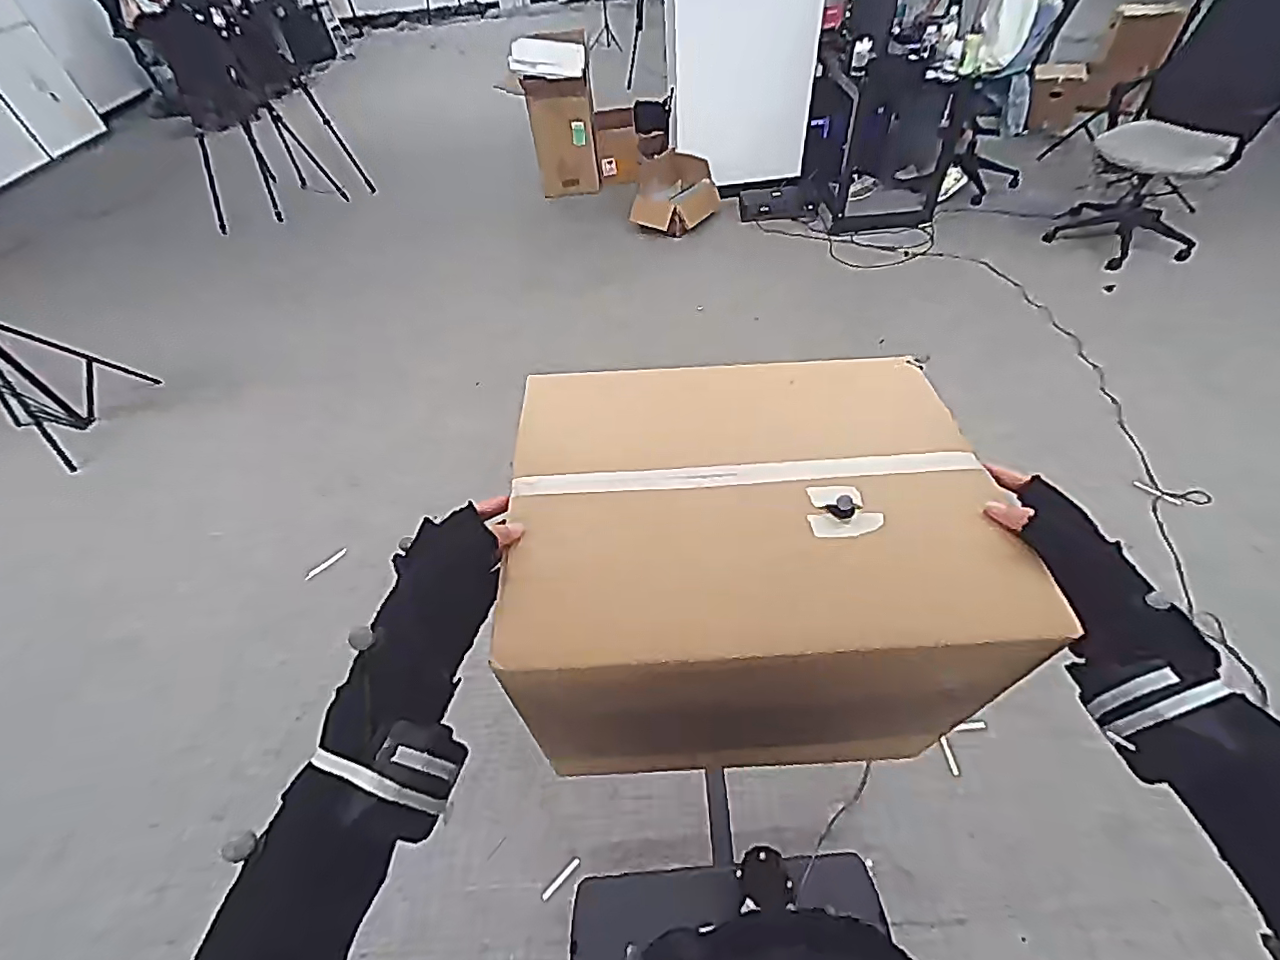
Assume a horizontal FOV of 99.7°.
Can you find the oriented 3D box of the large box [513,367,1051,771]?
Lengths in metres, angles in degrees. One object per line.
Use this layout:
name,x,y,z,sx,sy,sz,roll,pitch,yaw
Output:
large box,0.097,0.102,0.596,0.408,0.320,0.320,-3,50,-1
